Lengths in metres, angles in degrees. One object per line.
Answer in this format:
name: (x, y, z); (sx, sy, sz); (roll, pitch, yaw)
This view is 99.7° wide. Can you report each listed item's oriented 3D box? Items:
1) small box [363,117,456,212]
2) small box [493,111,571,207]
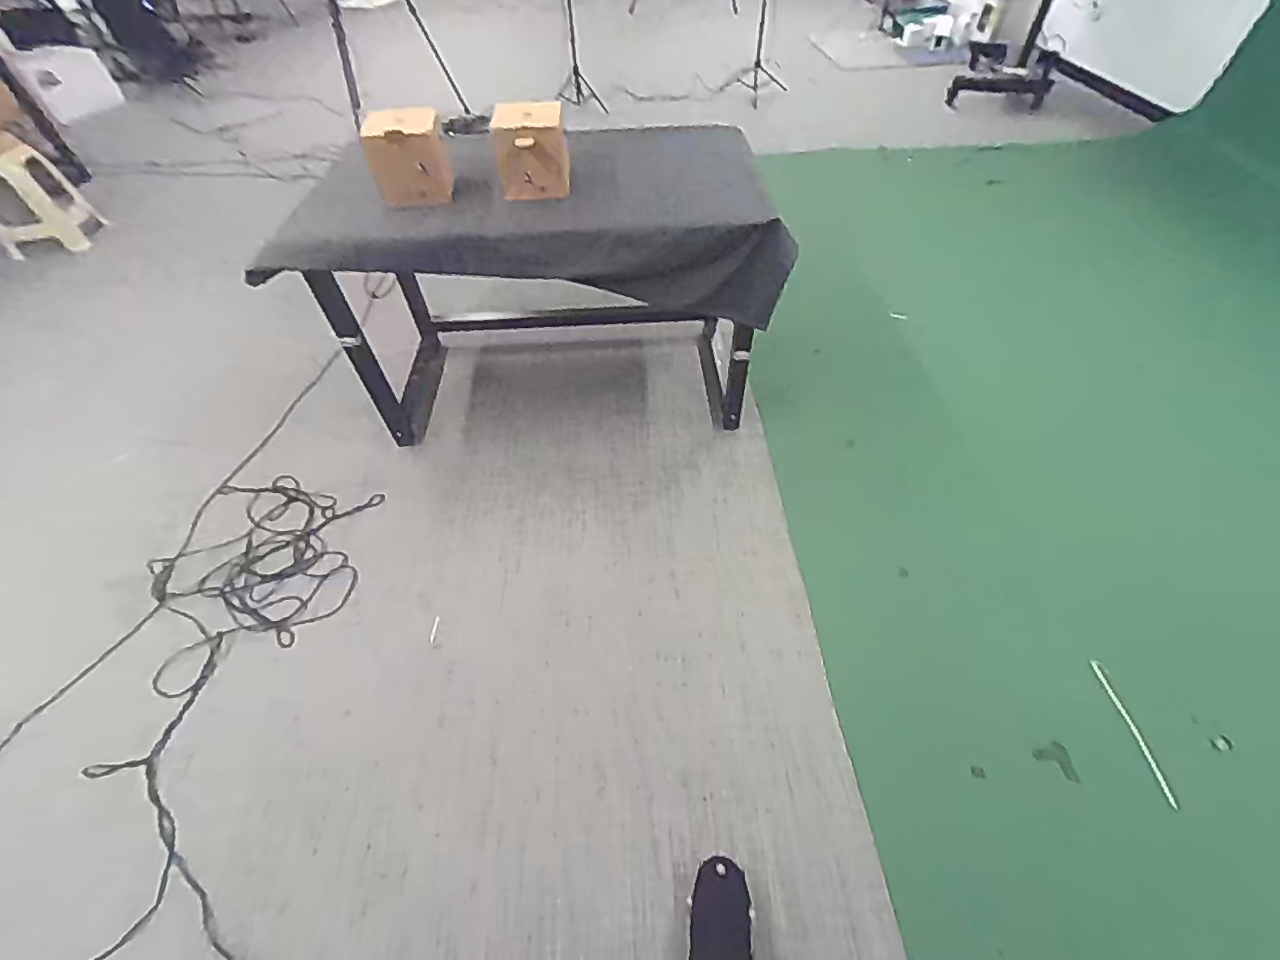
small box: (-0.579, -0.800, 1.382); (0.168, 0.176, 0.179); (-7, 49, -6)
small box: (-0.272, -0.826, 1.394); (0.168, 0.176, 0.179); (-3, 50, -1)
